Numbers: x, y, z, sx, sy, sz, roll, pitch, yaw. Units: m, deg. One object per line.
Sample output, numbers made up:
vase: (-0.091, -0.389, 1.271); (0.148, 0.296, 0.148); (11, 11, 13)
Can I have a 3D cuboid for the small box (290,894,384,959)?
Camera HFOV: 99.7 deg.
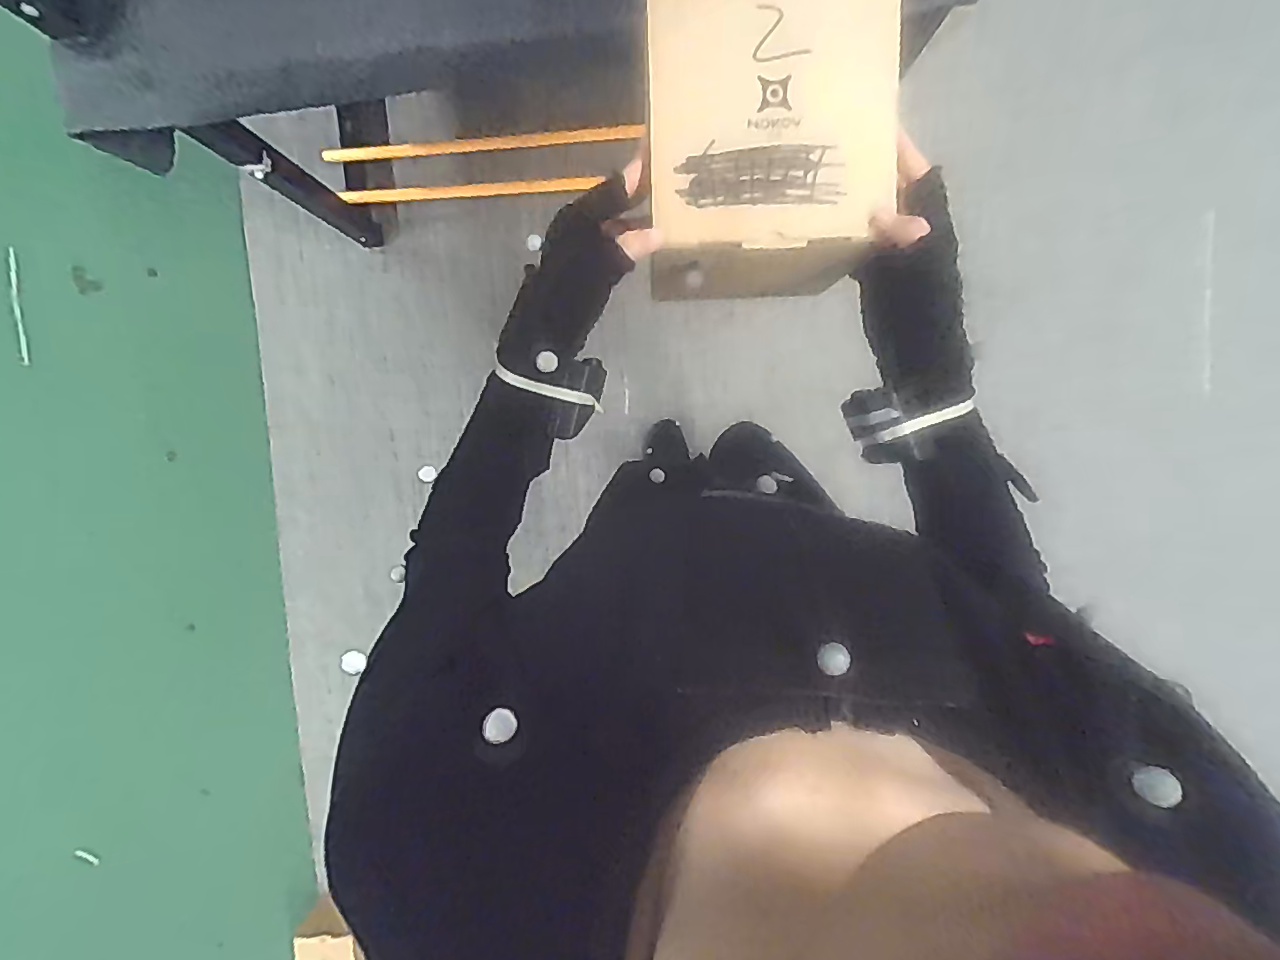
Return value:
small box: (-0.836, 1.307, 1.509); (0.168, 0.176, 0.179); (-3, 94, 1)
